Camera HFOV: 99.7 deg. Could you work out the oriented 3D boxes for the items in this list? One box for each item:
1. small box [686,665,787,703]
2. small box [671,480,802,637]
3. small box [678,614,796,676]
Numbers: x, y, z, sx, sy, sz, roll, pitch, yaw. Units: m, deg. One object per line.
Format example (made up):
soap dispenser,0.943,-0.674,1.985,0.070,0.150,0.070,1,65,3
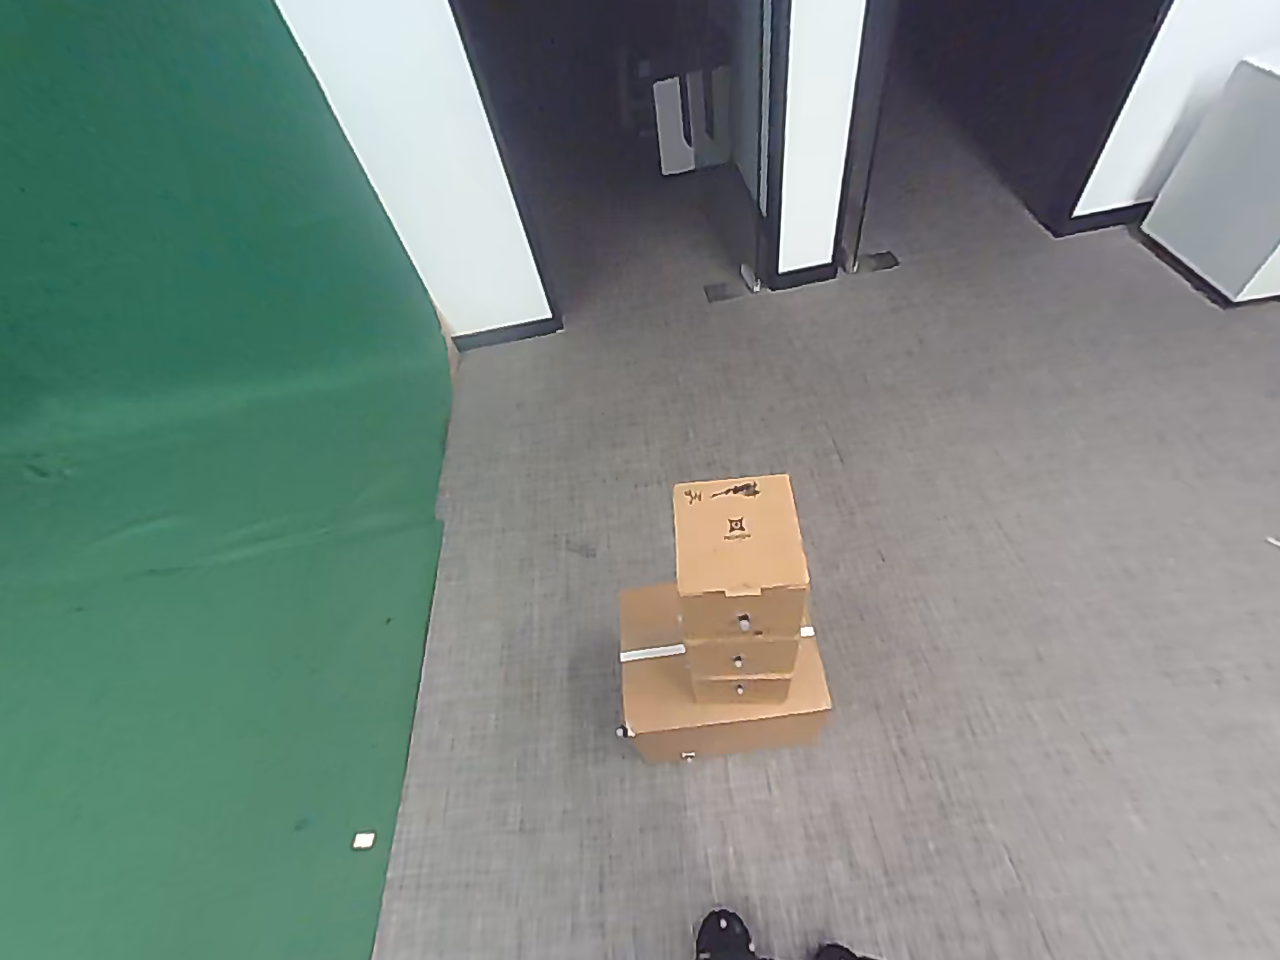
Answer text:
small box,0.180,0.325,1.042,0.179,0.176,0.168,-3,54,6
small box,0.137,0.122,0.789,0.168,0.176,0.179,-5,54,8
small box,0.158,0.225,0.914,0.179,0.176,0.168,-6,54,9
